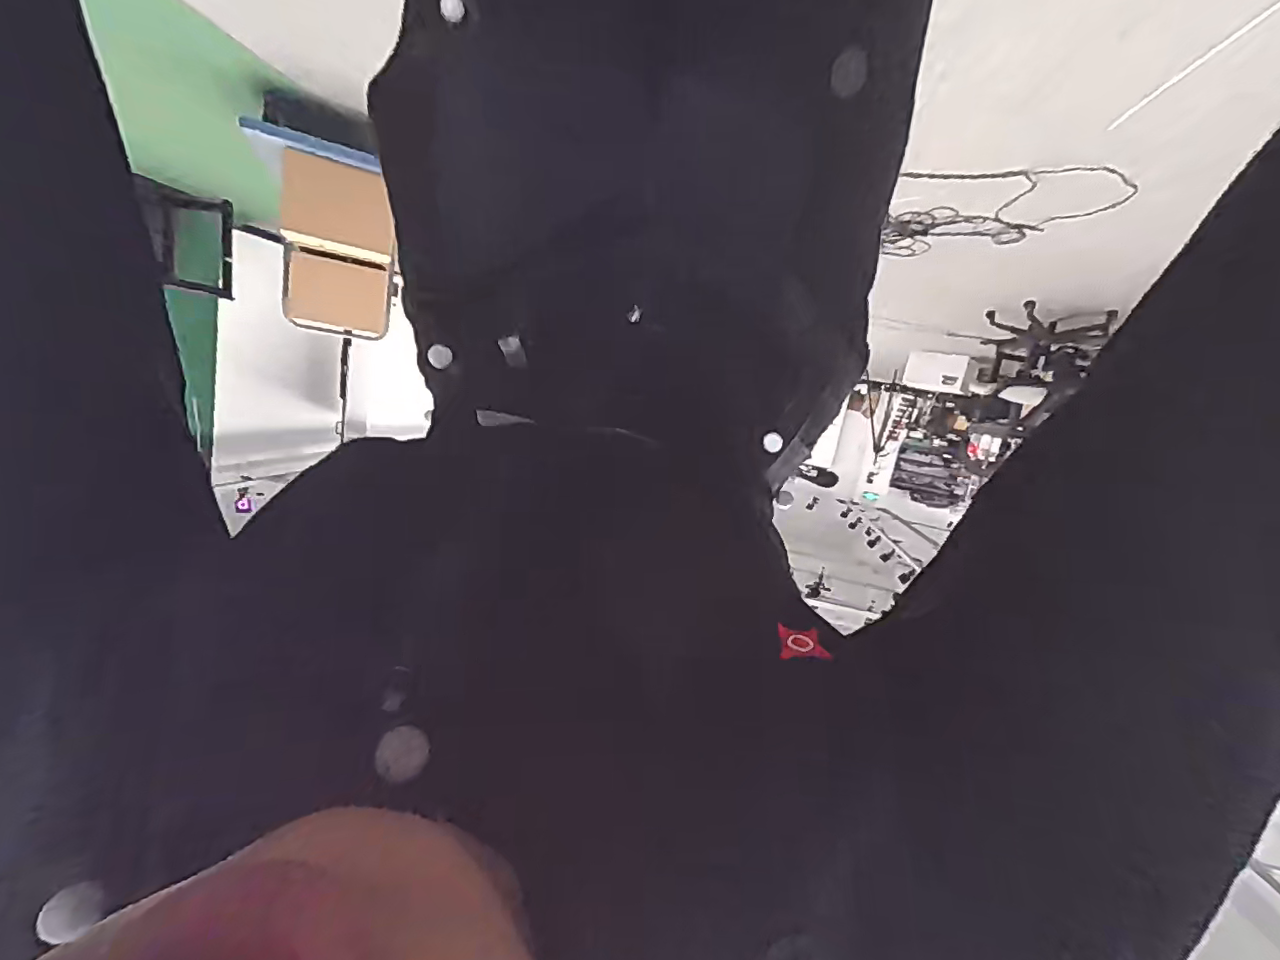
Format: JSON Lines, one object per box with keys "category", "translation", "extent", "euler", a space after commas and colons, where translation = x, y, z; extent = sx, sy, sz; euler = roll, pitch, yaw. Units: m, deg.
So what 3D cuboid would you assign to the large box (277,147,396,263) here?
{"category": "large box", "translation": [-1.274, -1.143, 2.295], "extent": [0.408, 0.320, 0.320], "euler": [6, -168, -29]}
